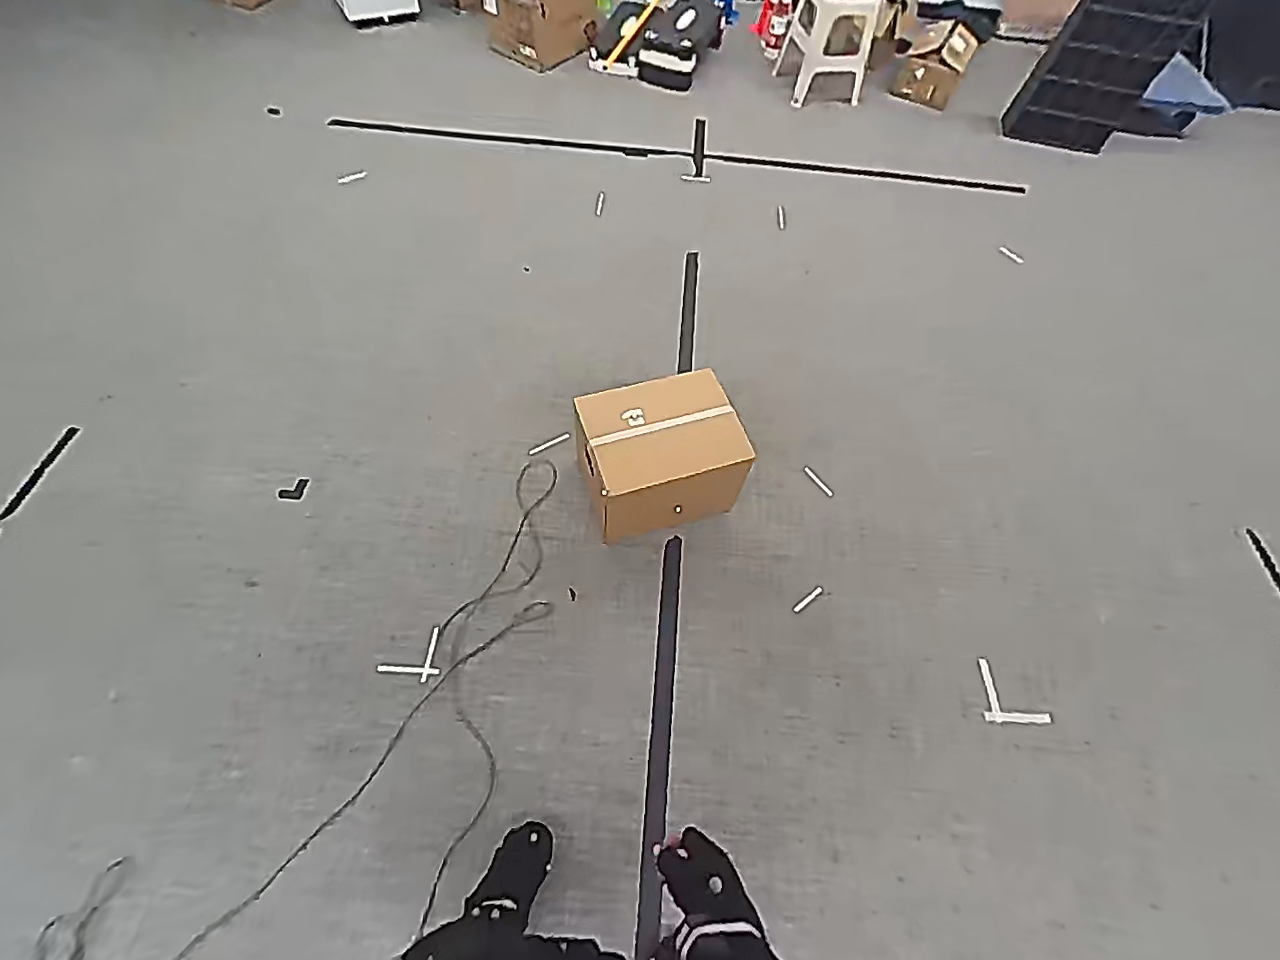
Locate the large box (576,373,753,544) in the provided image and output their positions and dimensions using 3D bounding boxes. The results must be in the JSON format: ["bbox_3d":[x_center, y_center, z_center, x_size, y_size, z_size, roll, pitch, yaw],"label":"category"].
[{"bbox_3d":[0.054,-0.056,1.556,0.408,0.320,0.320,-15,62,-11],"label":"large box"}]
